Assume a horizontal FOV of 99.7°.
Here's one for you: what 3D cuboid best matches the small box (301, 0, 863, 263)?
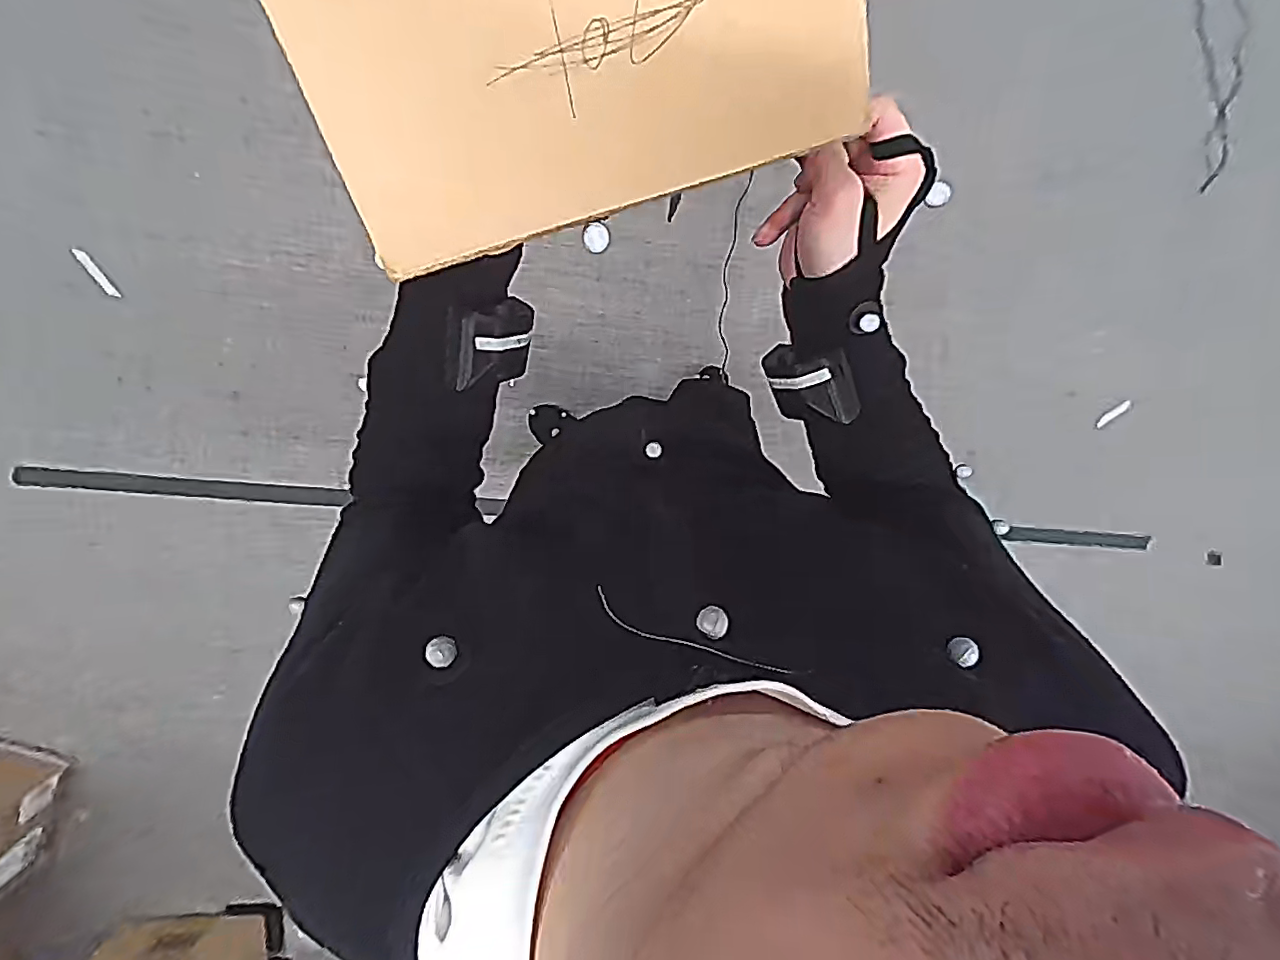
[{"bbox_3d":[-0.029,-0.204,0.222,0.168,0.176,0.179,-15,117,4],"label":"small box"}]
